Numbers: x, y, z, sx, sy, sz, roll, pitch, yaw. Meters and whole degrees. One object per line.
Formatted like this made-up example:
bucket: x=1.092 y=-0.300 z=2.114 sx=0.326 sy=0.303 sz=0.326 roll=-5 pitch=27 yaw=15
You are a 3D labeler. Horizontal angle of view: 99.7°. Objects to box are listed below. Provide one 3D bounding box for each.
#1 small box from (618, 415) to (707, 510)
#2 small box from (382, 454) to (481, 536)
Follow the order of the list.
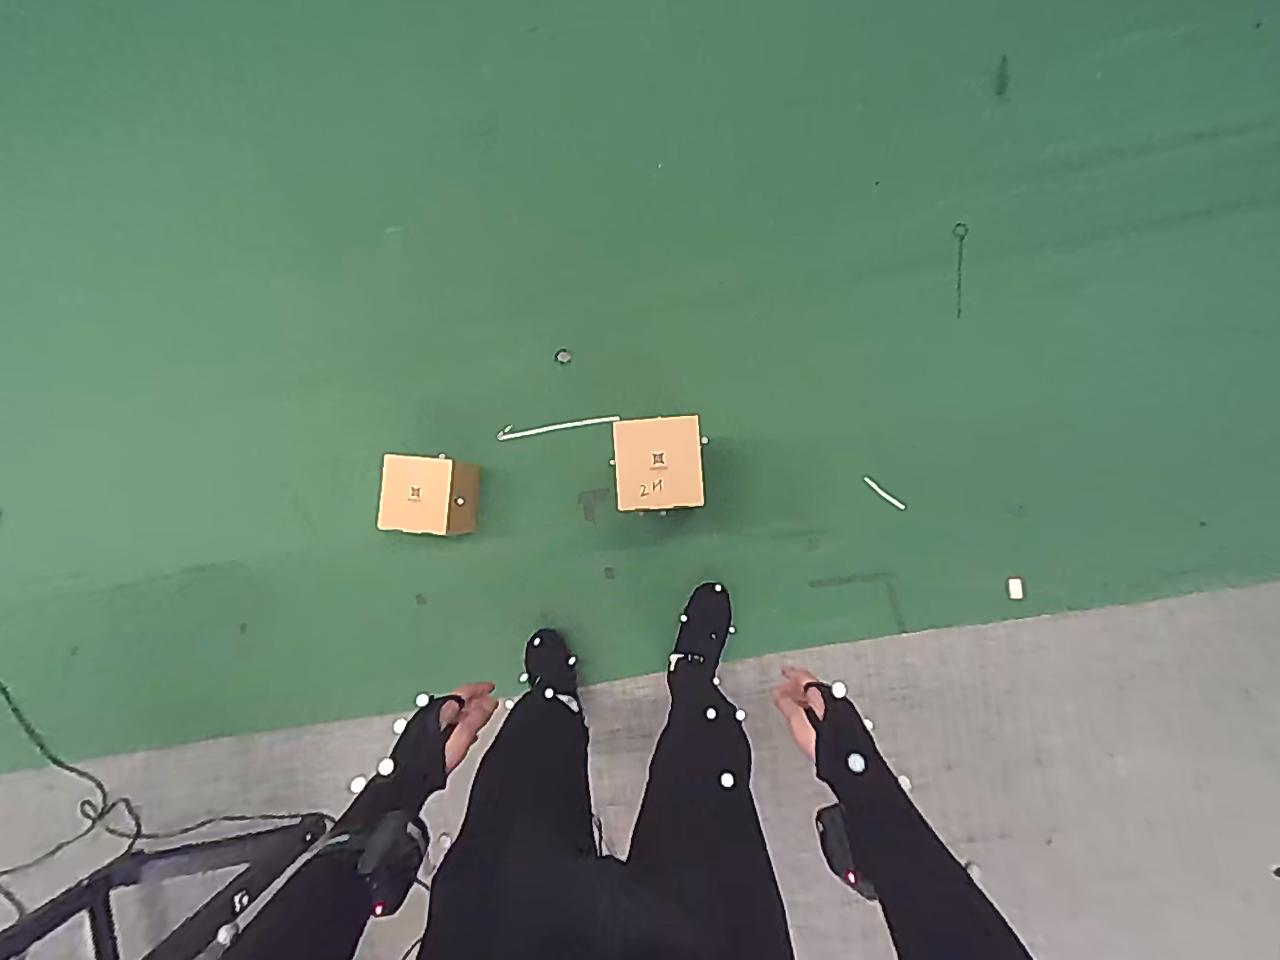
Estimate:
small box: x=0.047 y=-0.029 z=1.102 sx=0.168 sy=0.176 sz=0.179 roll=-4 pitch=88 yaw=5
small box: x=-0.498 y=0.035 z=1.314 sx=0.168 sy=0.176 sz=0.179 roll=5 pitch=90 yaw=5
